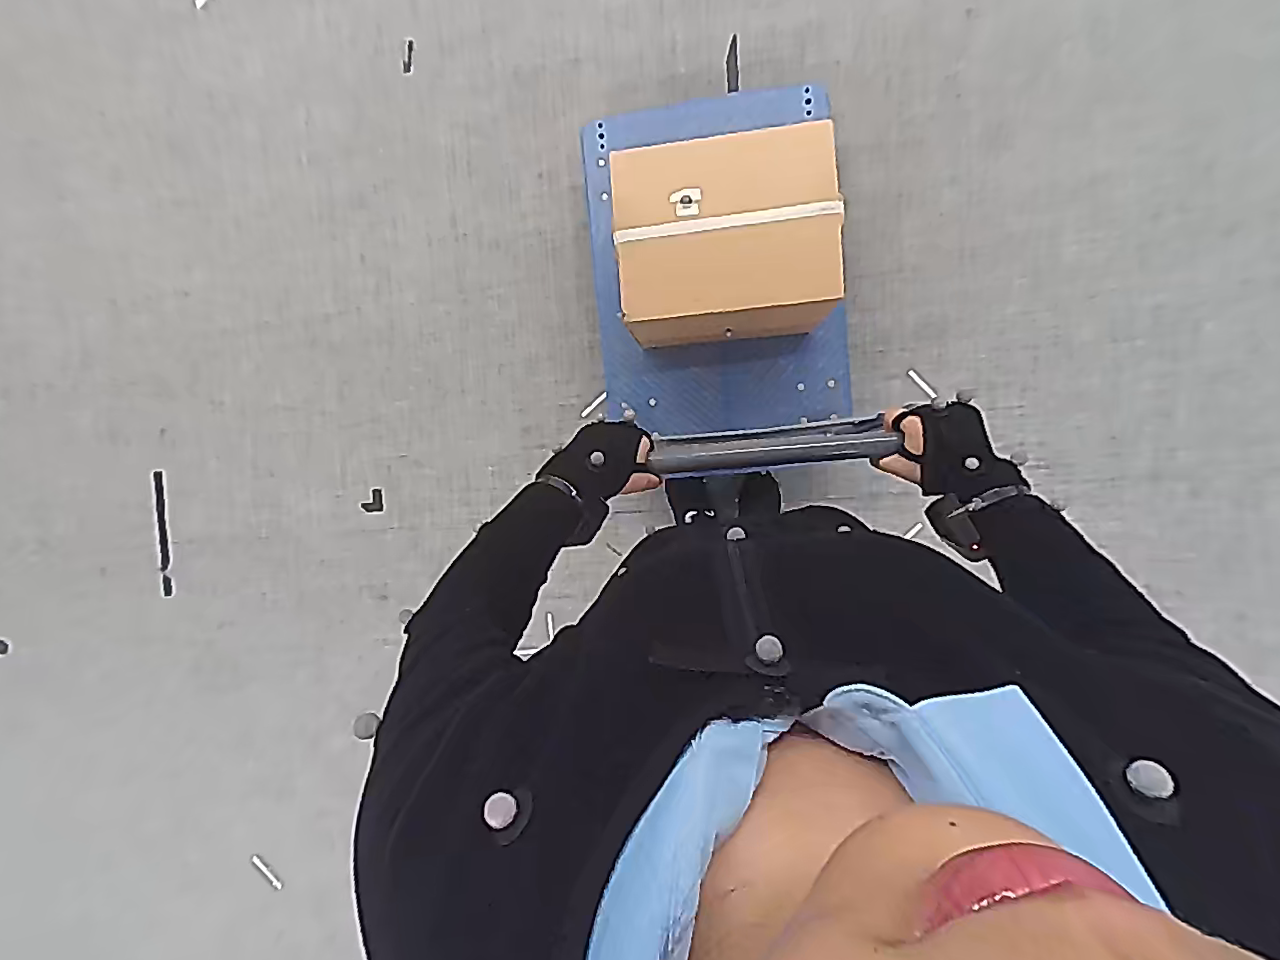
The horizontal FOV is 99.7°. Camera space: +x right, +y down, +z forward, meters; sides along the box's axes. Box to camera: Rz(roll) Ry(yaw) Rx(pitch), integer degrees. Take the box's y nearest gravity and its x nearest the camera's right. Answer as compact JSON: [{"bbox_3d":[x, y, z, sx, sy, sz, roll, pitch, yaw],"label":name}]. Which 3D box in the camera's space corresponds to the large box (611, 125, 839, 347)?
[{"bbox_3d":[0.176,-0.481,1.151,0.408,0.320,0.320,-4,93,8],"label":"large box"}]
